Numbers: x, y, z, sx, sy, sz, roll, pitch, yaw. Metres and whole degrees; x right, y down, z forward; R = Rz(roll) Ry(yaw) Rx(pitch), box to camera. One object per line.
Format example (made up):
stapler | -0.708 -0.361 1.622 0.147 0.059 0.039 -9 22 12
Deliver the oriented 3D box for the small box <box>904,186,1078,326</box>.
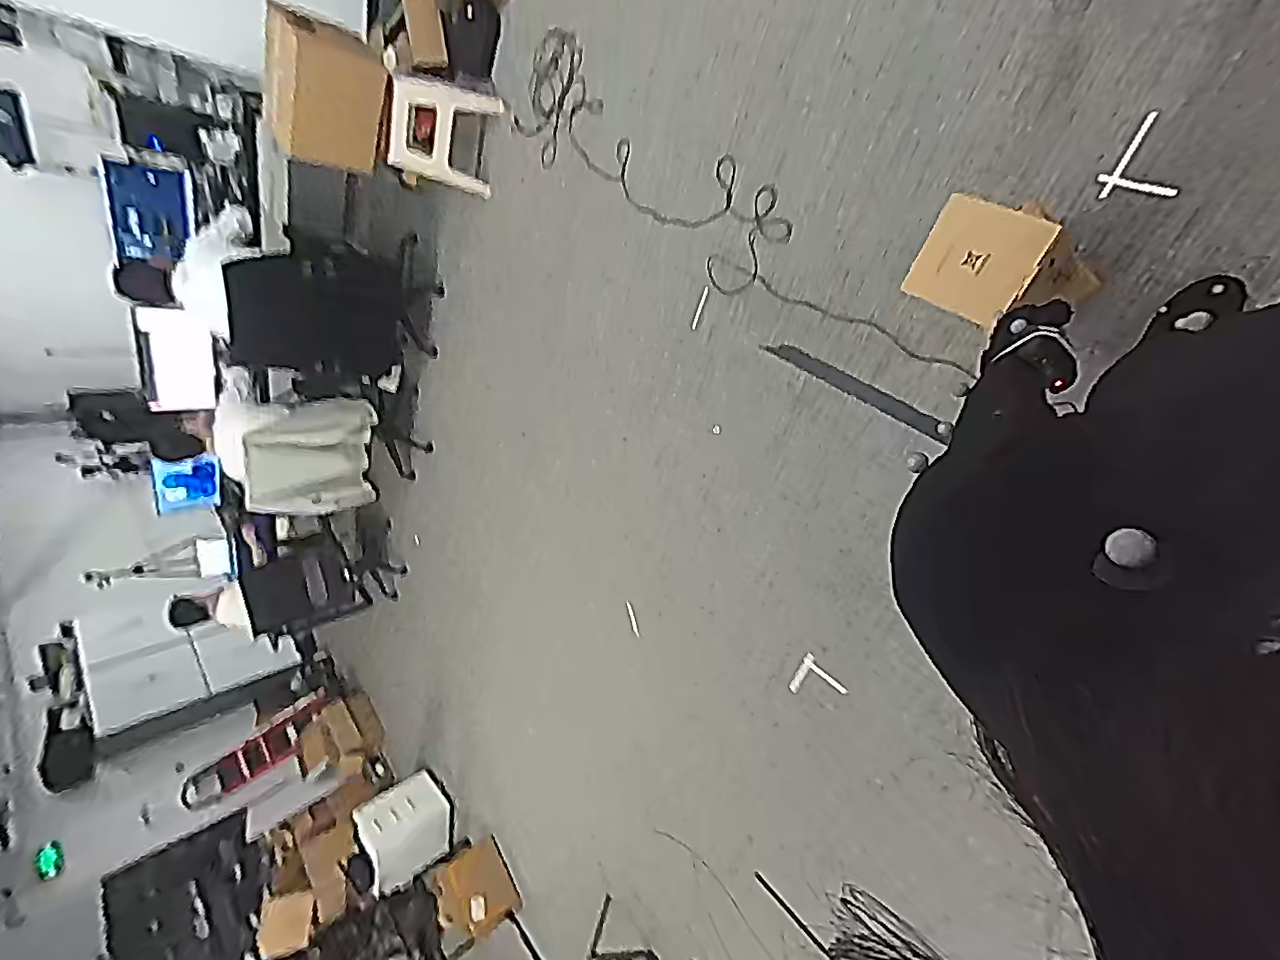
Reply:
small box | 0.596 -0.373 0.916 0.179 0.176 0.168 40 125 30

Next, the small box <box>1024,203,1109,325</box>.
small box | 0.835 -0.439 1.131 0.168 0.176 0.179 -37 75 43

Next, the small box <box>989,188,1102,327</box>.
small box | 0.724 -0.403 1.016 0.168 0.176 0.179 -35 76 44
